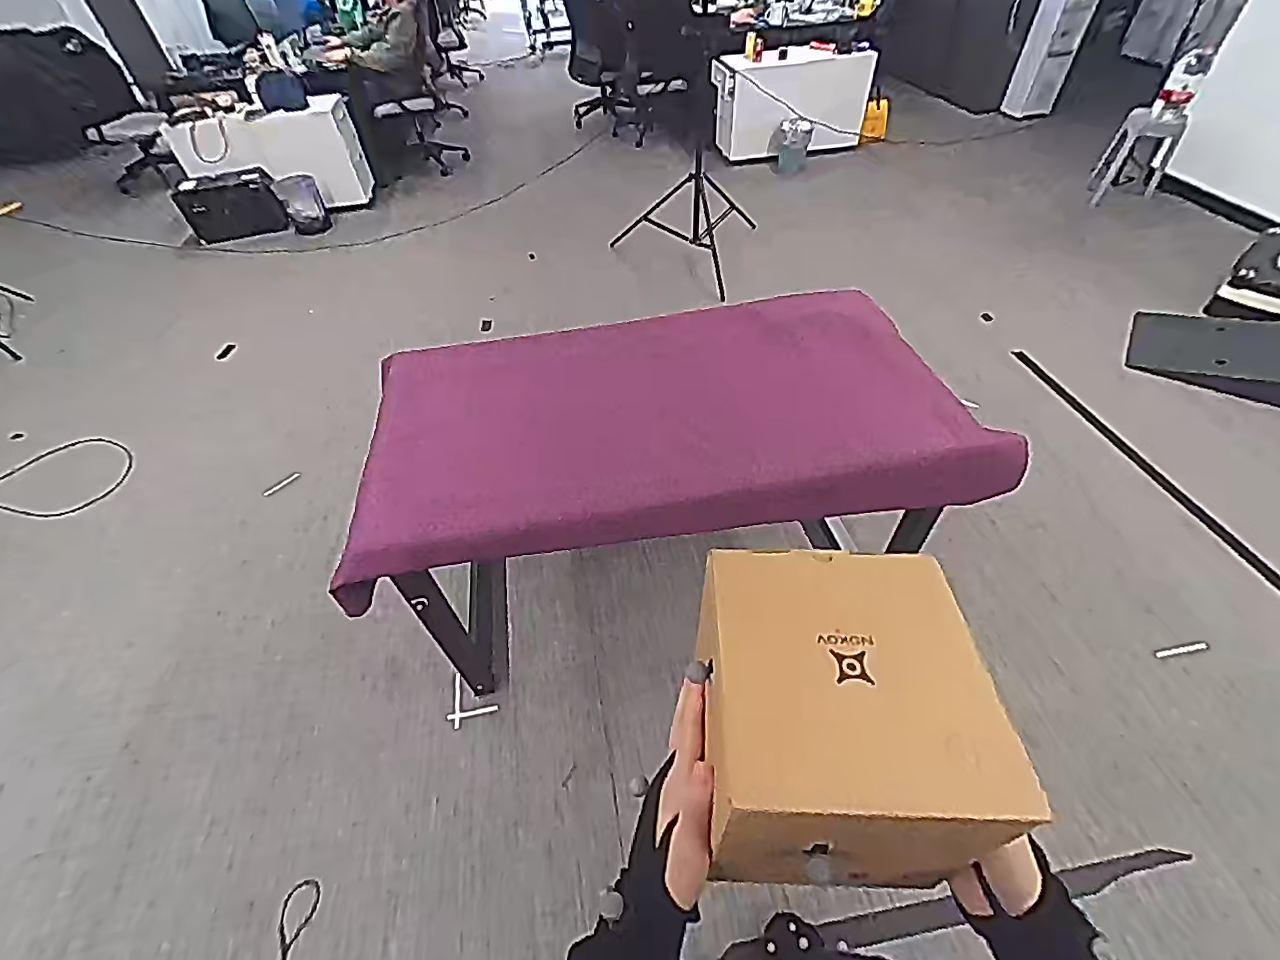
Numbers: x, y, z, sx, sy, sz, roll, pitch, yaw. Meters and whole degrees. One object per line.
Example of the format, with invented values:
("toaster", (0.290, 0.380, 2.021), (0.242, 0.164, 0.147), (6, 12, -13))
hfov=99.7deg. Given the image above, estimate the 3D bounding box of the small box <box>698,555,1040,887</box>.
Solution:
("small box", (0.132, 0.176, 0.397), (0.168, 0.176, 0.179), (1, 42, 1))
